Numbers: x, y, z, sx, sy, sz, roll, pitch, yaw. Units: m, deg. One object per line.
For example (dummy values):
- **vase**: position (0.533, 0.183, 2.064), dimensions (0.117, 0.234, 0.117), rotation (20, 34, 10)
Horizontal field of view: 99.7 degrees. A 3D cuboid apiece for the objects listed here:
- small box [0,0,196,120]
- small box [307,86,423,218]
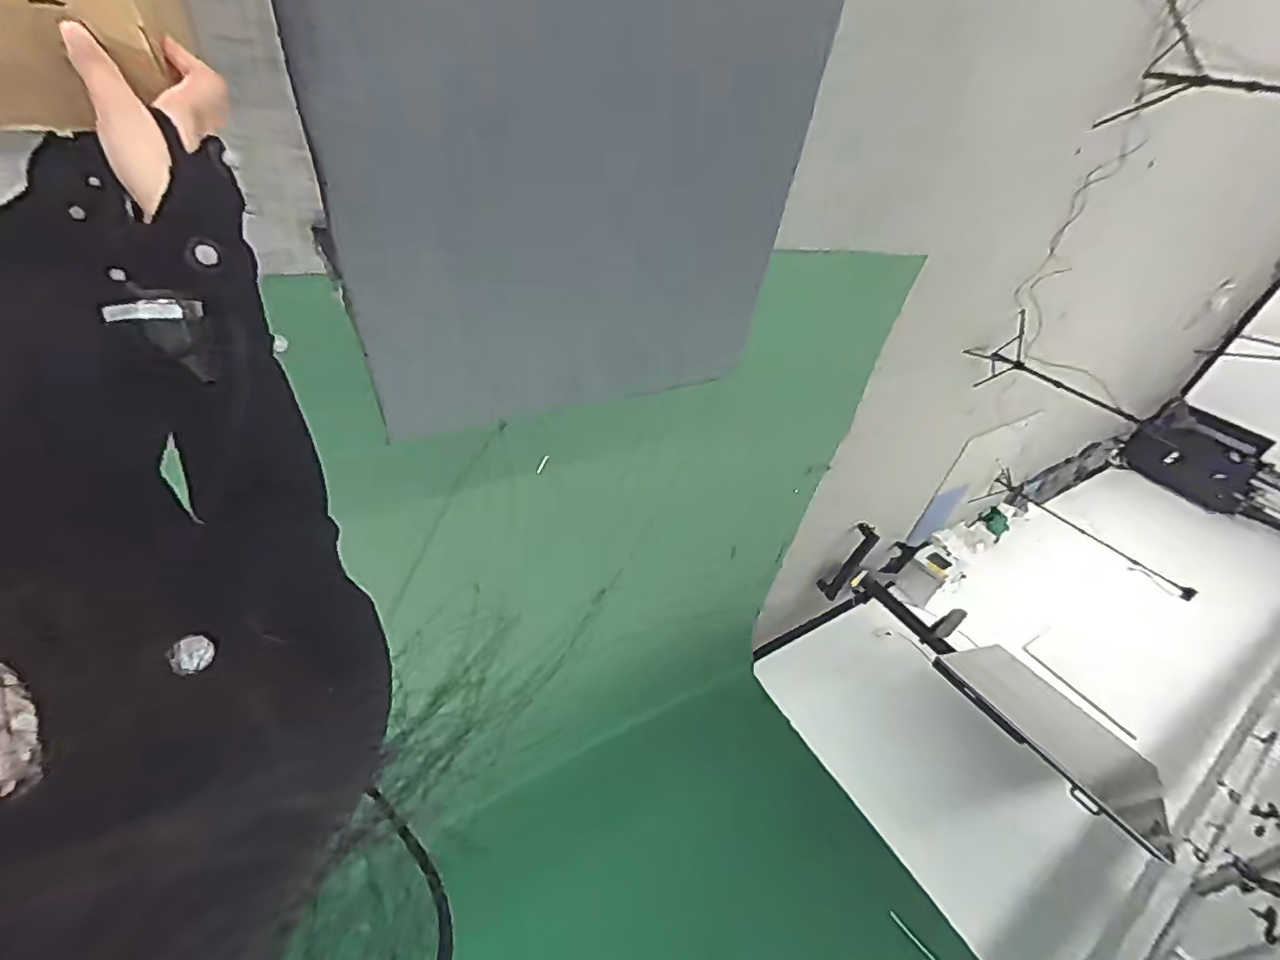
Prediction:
- **small box**: position (-0.424, -0.354, 0.340), dimensions (0.179, 0.176, 0.168), rotation (-12, 146, -18)
- **small box**: position (-0.524, -0.626, 1.033), dimensions (0.168, 0.176, 0.179), rotation (-11, 134, -33)
